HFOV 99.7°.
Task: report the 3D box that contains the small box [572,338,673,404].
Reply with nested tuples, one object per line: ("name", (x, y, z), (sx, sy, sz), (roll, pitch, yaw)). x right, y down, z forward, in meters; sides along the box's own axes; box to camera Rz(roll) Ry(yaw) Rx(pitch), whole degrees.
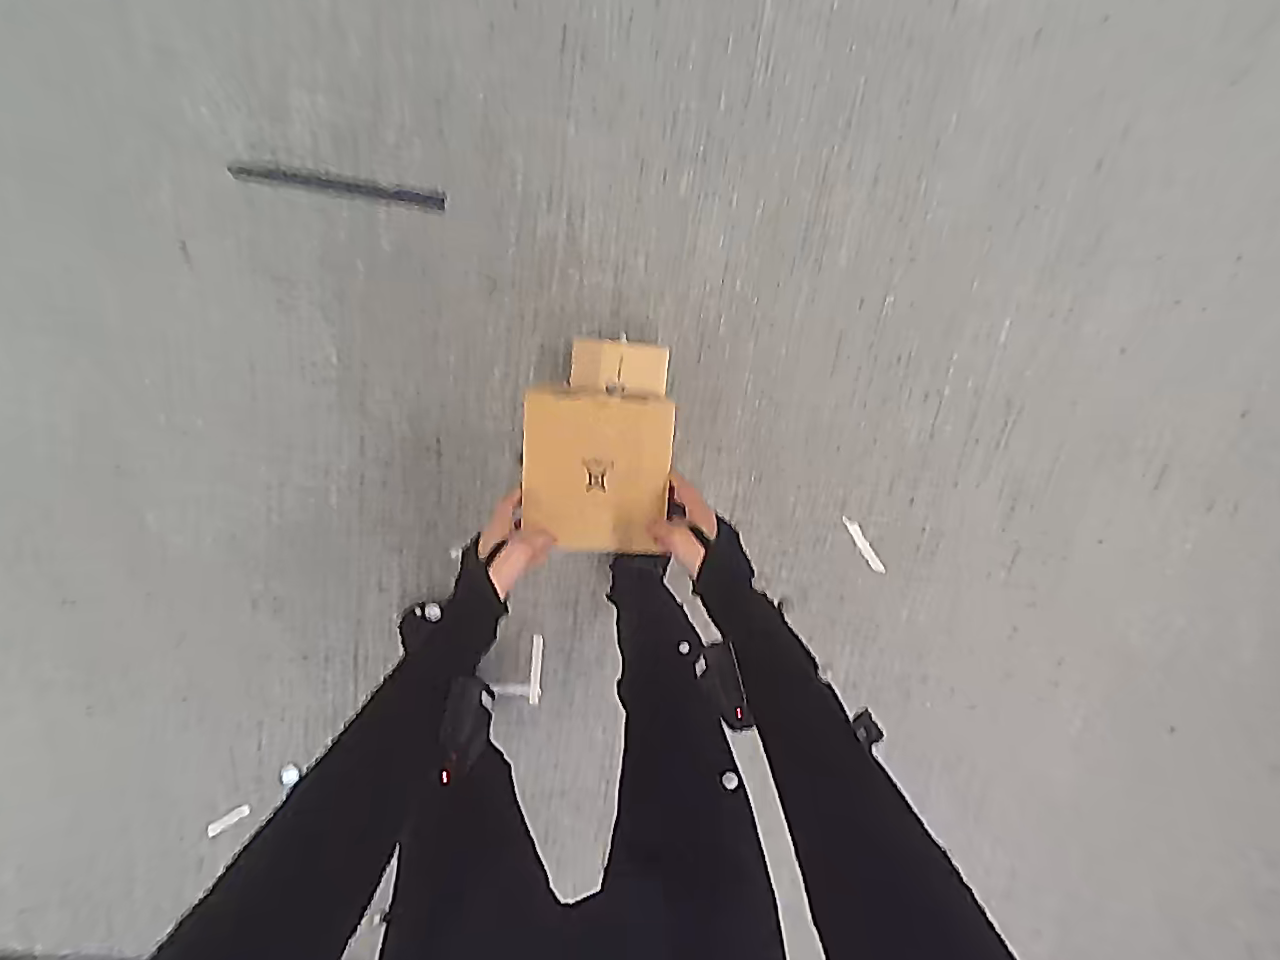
("small box", (-0.040, -0.161, 0.997), (0.168, 0.176, 0.179), (5, 102, -6))

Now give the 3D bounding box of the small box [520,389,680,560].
("small box", (-0.050, -0.016, 0.658), (0.168, 0.176, 0.179), (2, 101, -6))
